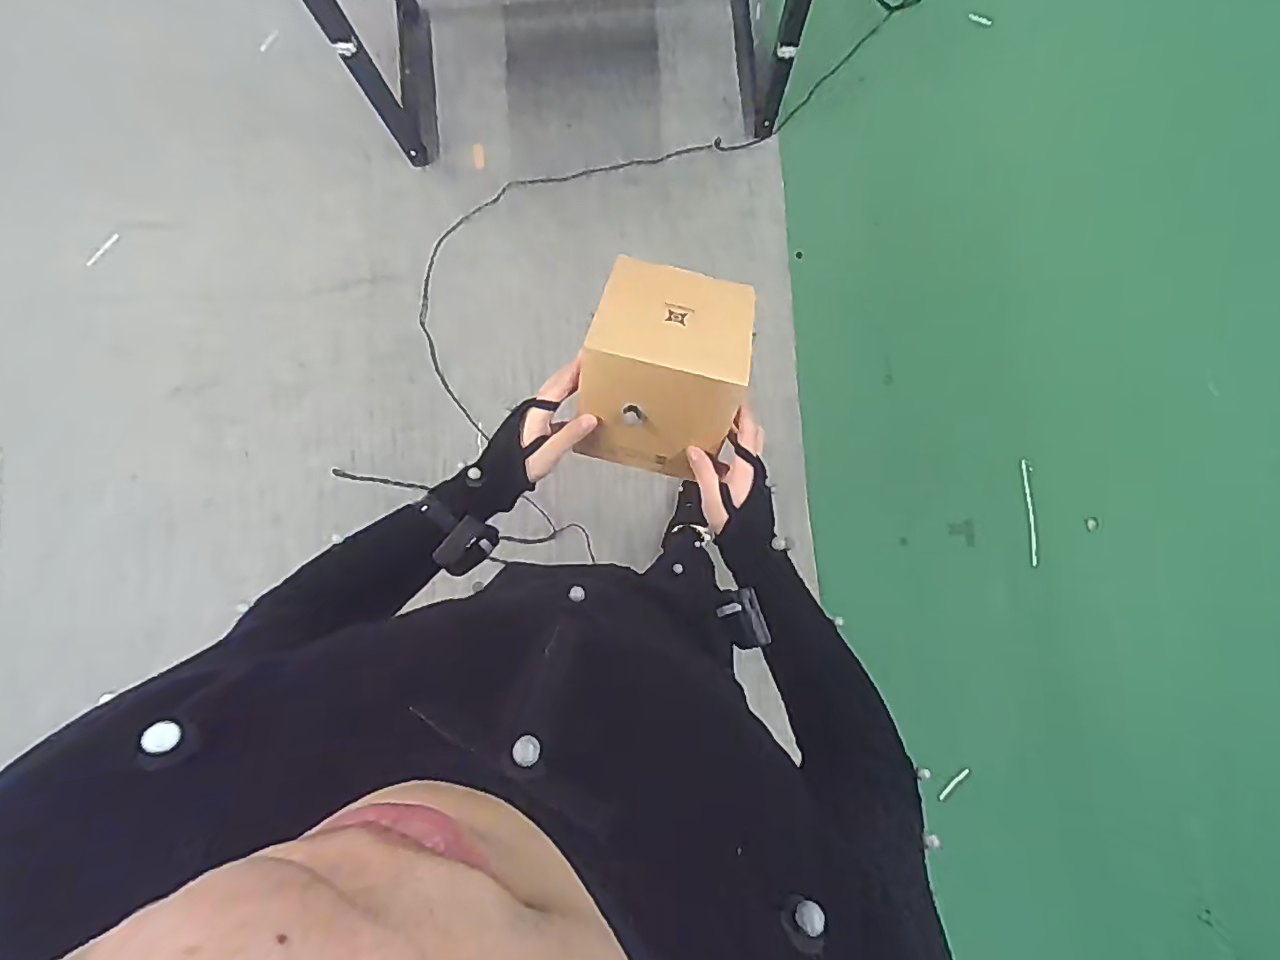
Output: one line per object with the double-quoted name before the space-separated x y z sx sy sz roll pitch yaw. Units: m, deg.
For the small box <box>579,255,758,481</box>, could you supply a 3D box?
"small box" 0.028 -0.124 0.626 0.168 0.176 0.179 13 51 -1
